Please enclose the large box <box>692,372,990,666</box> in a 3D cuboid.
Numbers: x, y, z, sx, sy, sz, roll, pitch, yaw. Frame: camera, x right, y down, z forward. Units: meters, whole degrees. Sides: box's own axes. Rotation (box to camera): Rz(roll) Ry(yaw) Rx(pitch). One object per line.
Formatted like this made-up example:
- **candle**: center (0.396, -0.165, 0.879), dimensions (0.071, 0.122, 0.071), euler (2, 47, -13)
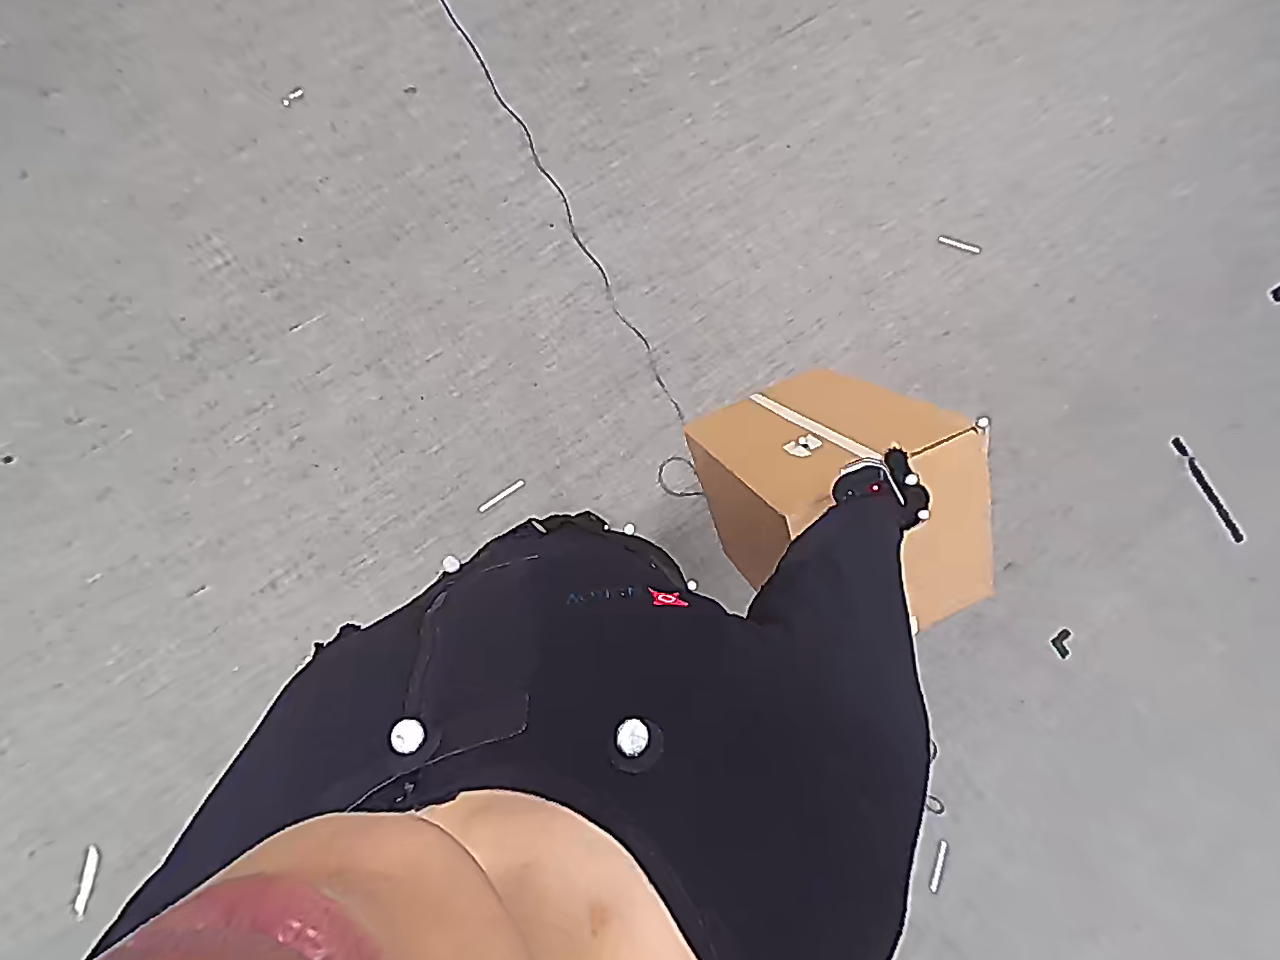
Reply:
- **large box**: center (0.338, 0.041, 0.975), dimensions (0.320, 0.408, 0.320), euler (-24, 118, -6)
